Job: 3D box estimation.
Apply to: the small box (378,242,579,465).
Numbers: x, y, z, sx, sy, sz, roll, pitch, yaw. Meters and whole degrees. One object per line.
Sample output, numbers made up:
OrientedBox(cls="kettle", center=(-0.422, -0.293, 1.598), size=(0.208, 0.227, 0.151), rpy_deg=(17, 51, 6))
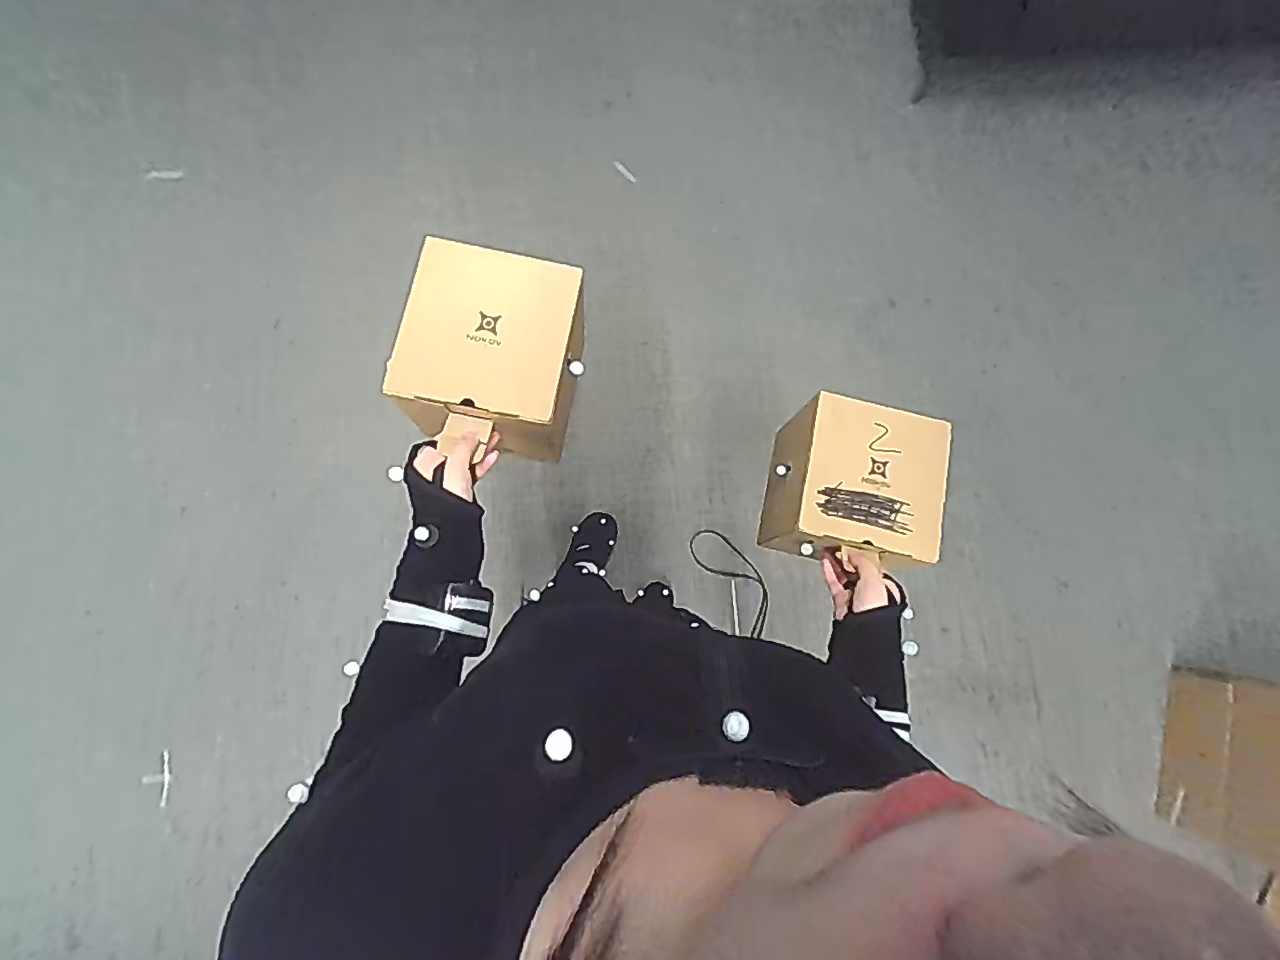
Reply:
OrientedBox(cls="small box", center=(-0.168, -0.130, 0.617), size=(0.168, 0.176, 0.179), rpy_deg=(10, 78, -5))
